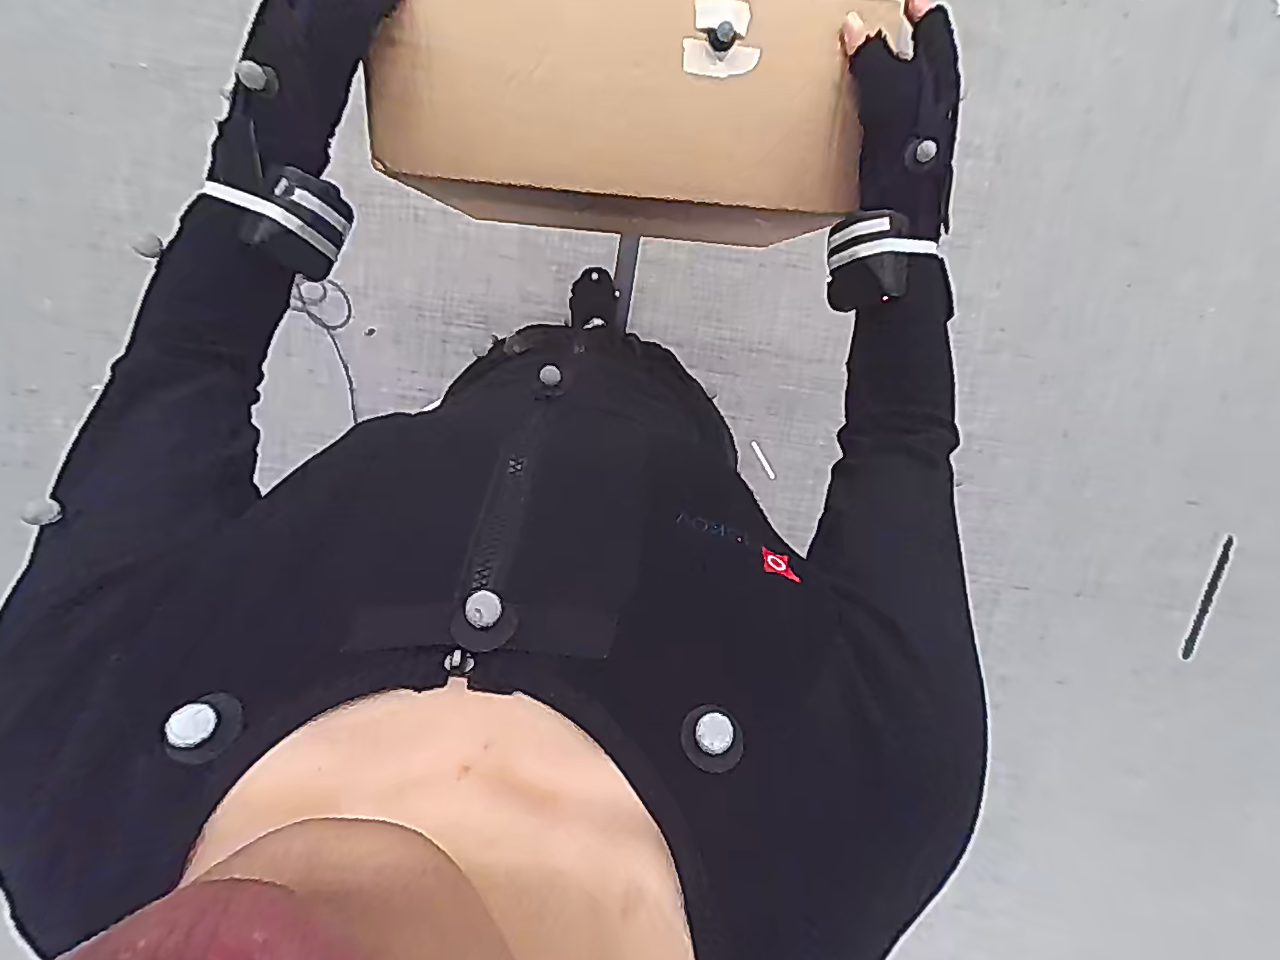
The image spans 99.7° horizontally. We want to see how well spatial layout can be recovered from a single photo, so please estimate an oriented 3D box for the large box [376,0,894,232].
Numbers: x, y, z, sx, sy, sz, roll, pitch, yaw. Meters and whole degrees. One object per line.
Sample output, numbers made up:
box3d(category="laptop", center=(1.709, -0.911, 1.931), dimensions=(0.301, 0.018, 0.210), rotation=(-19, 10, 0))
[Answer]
box3d(category="large box", center=(-0.007, -0.444, 0.543), dimensions=(0.408, 0.320, 0.320), rotation=(3, 110, -4))
